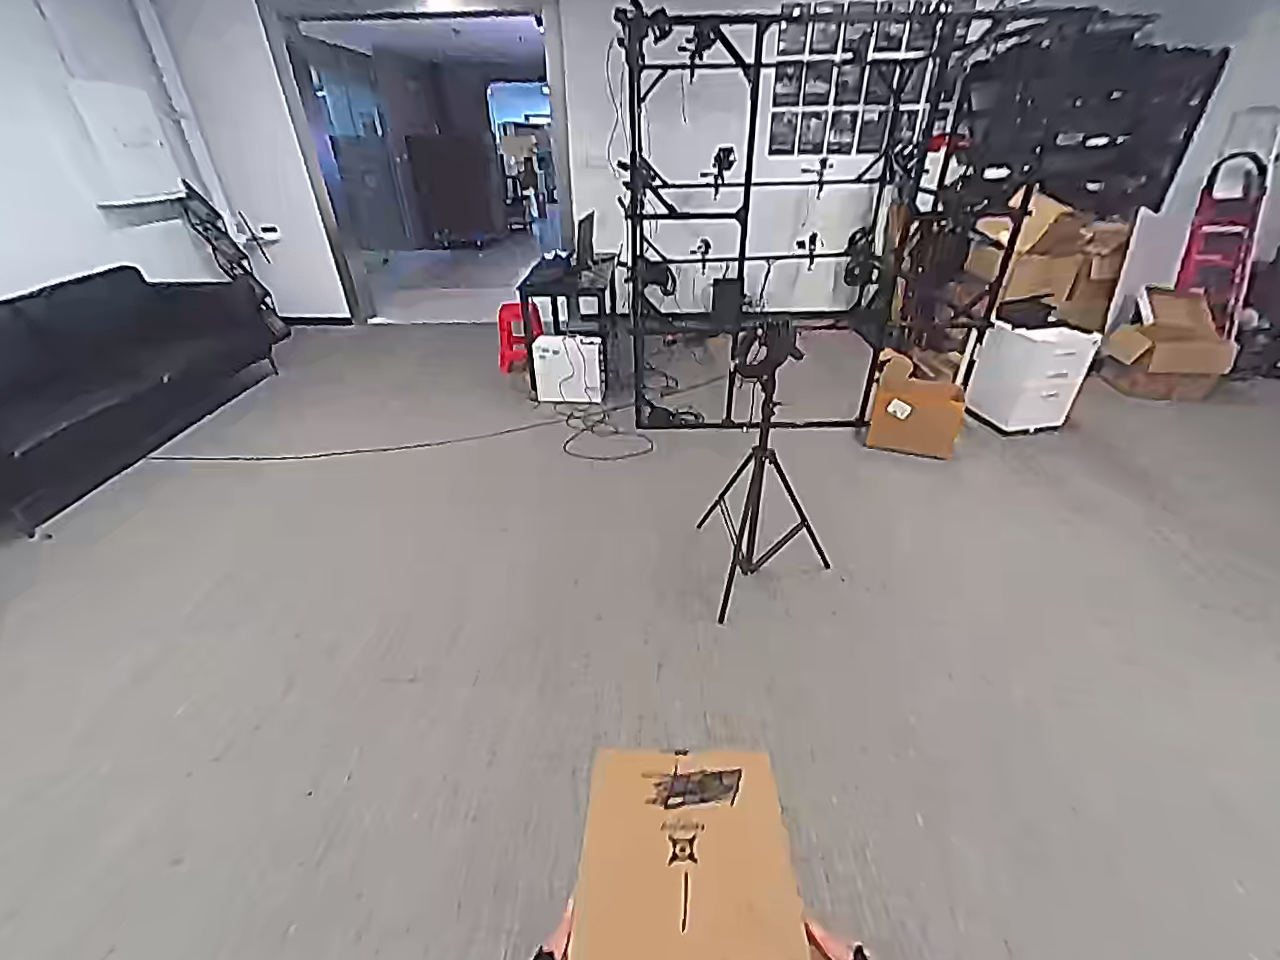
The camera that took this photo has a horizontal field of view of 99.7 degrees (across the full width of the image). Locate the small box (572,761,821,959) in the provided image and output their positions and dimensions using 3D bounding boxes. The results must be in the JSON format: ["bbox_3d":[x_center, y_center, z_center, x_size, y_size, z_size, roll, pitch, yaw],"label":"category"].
[{"bbox_3d":[0.043,0.367,0.450,0.168,0.176,0.179,-2,16,3],"label":"small box"}]
